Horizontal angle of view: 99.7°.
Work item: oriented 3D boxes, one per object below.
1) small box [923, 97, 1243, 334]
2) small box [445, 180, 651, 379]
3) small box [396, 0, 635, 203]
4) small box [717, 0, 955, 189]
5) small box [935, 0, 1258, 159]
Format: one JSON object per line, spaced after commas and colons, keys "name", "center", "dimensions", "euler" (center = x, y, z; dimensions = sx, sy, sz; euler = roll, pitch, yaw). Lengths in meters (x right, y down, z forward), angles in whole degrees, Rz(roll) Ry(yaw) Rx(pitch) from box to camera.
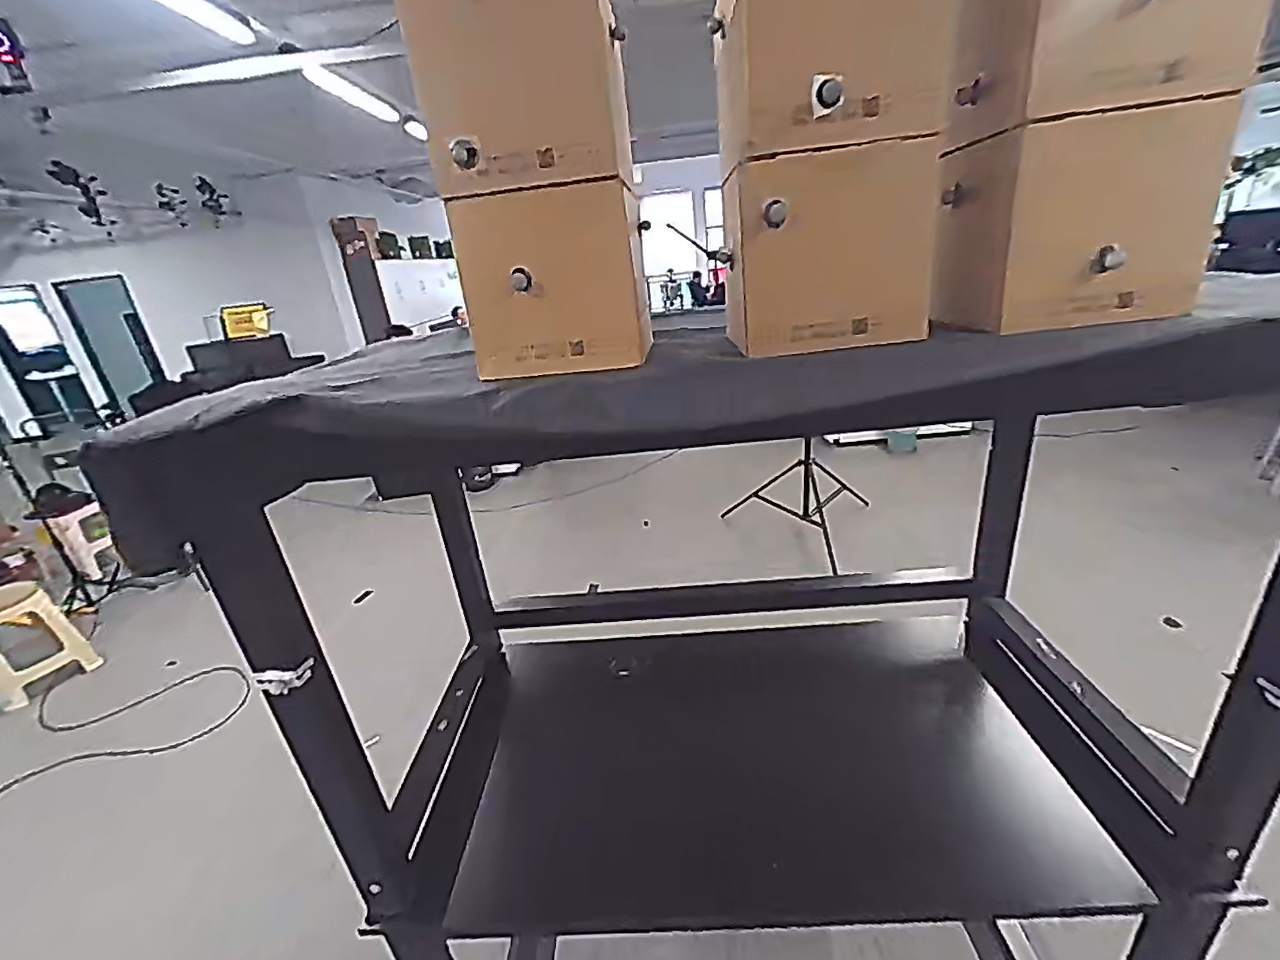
{"name": "small box", "center": [0.397, -0.241, 0.528], "dimensions": [0.168, 0.176, 0.179], "euler": [-5, 21, 5]}
{"name": "small box", "center": [-0.080, -0.207, 0.582], "dimensions": [0.168, 0.176, 0.179], "euler": [-4, 21, 6]}
{"name": "small box", "center": [-0.099, -0.358, 0.520], "dimensions": [0.168, 0.176, 0.179], "euler": [-4, 20, 6]}
{"name": "small box", "center": [0.164, -0.378, 0.497], "dimensions": [0.168, 0.176, 0.179], "euler": [-6, 21, 4]}
{"name": "small box", "center": [0.381, -0.394, 0.469], "dimensions": [0.168, 0.176, 0.179], "euler": [-4, 22, 6]}
